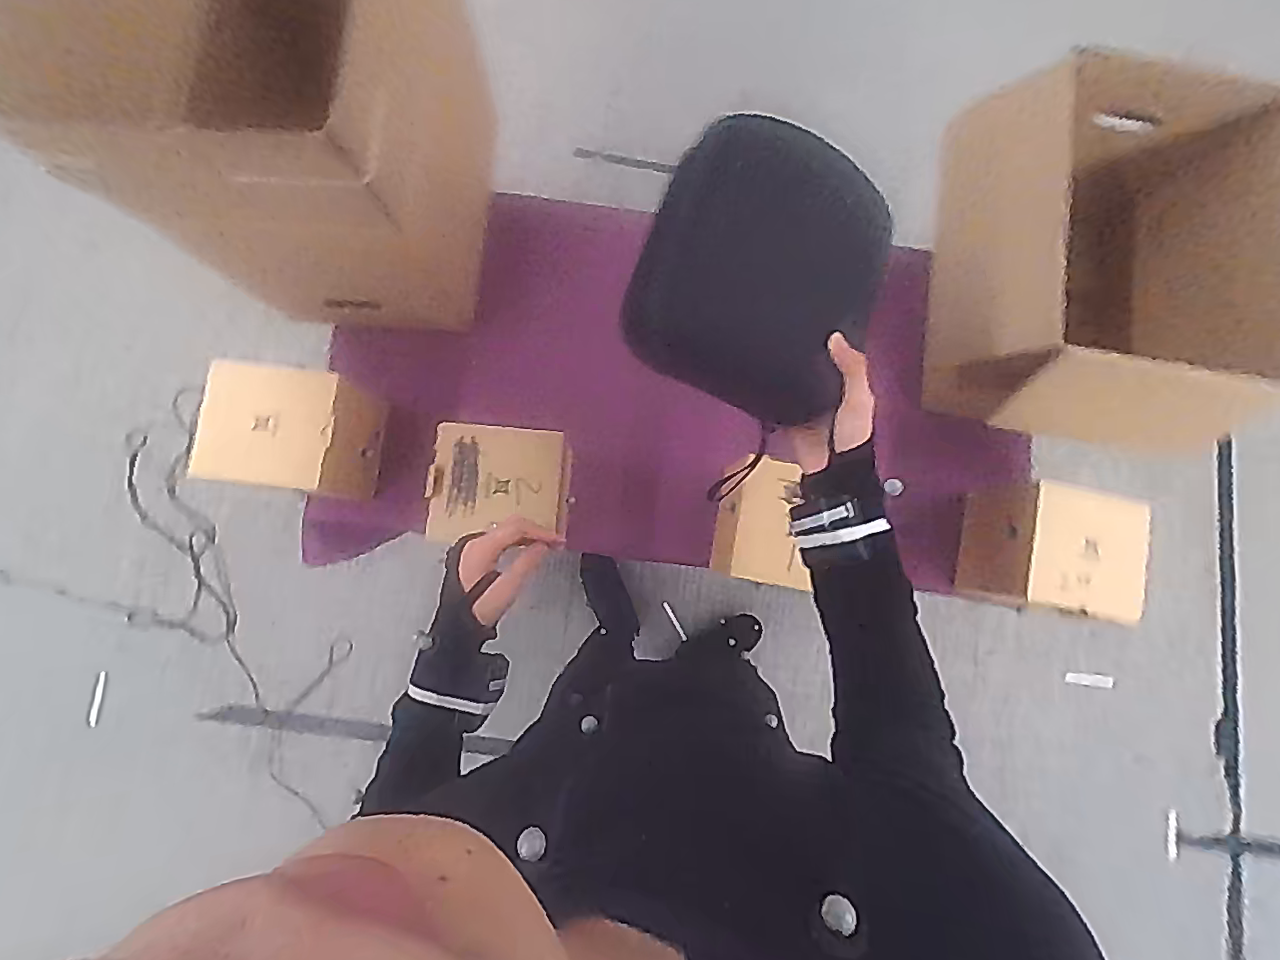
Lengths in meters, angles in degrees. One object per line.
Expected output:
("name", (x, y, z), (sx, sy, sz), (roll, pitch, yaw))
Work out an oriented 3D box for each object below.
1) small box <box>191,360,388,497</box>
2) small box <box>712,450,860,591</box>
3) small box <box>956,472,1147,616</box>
("small box", (-0.511, -0.067, 0.815), (0.179, 0.176, 0.168), (6, 83, -3))
("small box", (0.214, 0.064, 0.833), (0.168, 0.176, 0.179), (10, 84, -1))
("small box", (0.628, 0.099, 0.844), (0.168, 0.176, 0.179), (13, 83, 0))
